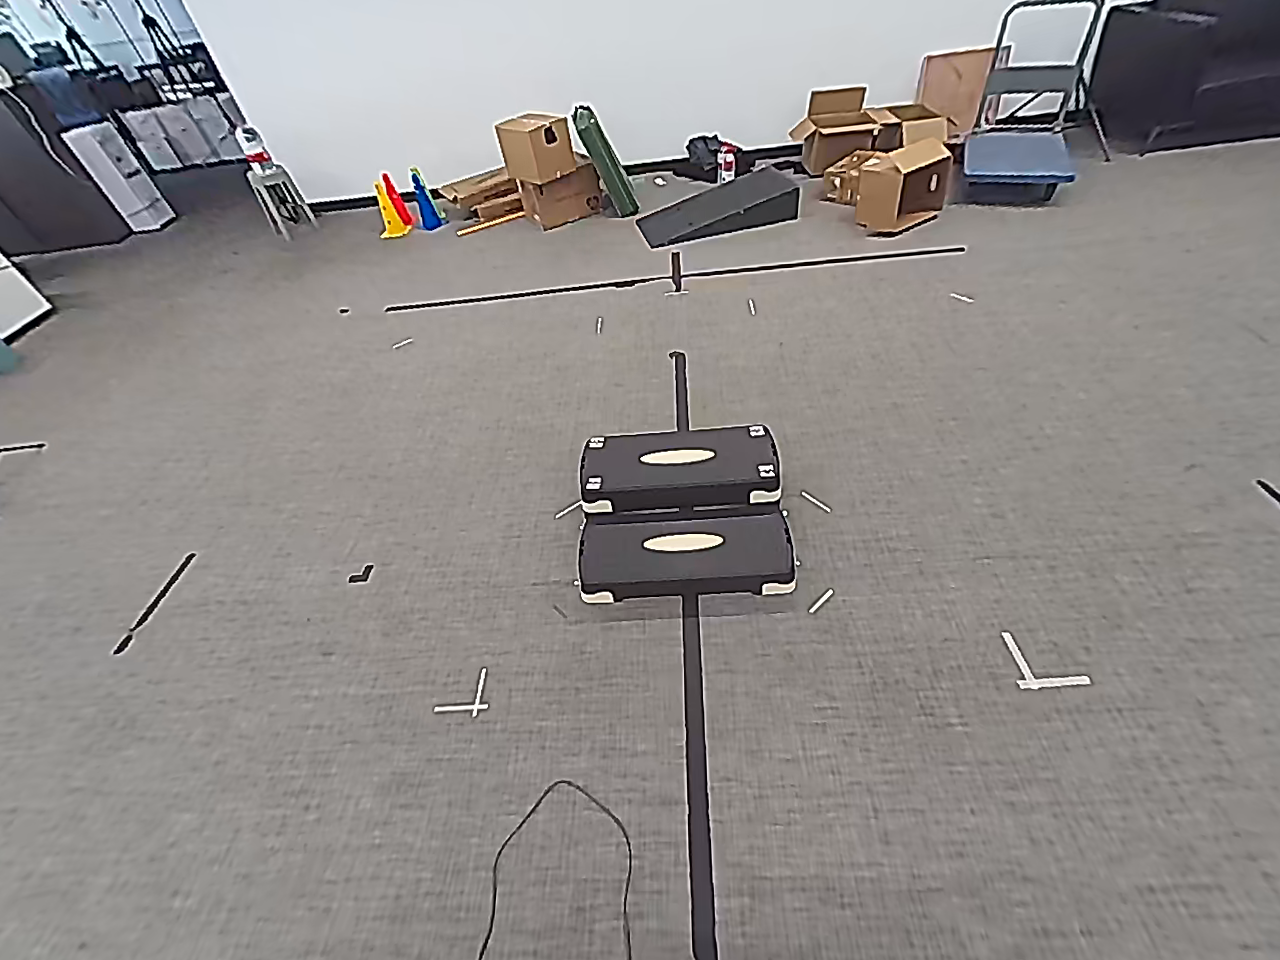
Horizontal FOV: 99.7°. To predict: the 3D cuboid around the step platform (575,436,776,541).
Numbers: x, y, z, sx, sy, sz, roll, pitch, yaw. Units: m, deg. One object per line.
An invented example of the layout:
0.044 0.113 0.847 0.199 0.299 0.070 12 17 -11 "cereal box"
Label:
0.118 0.023 1.877 0.684 0.204 0.286 -4 46 4 "step platform"
